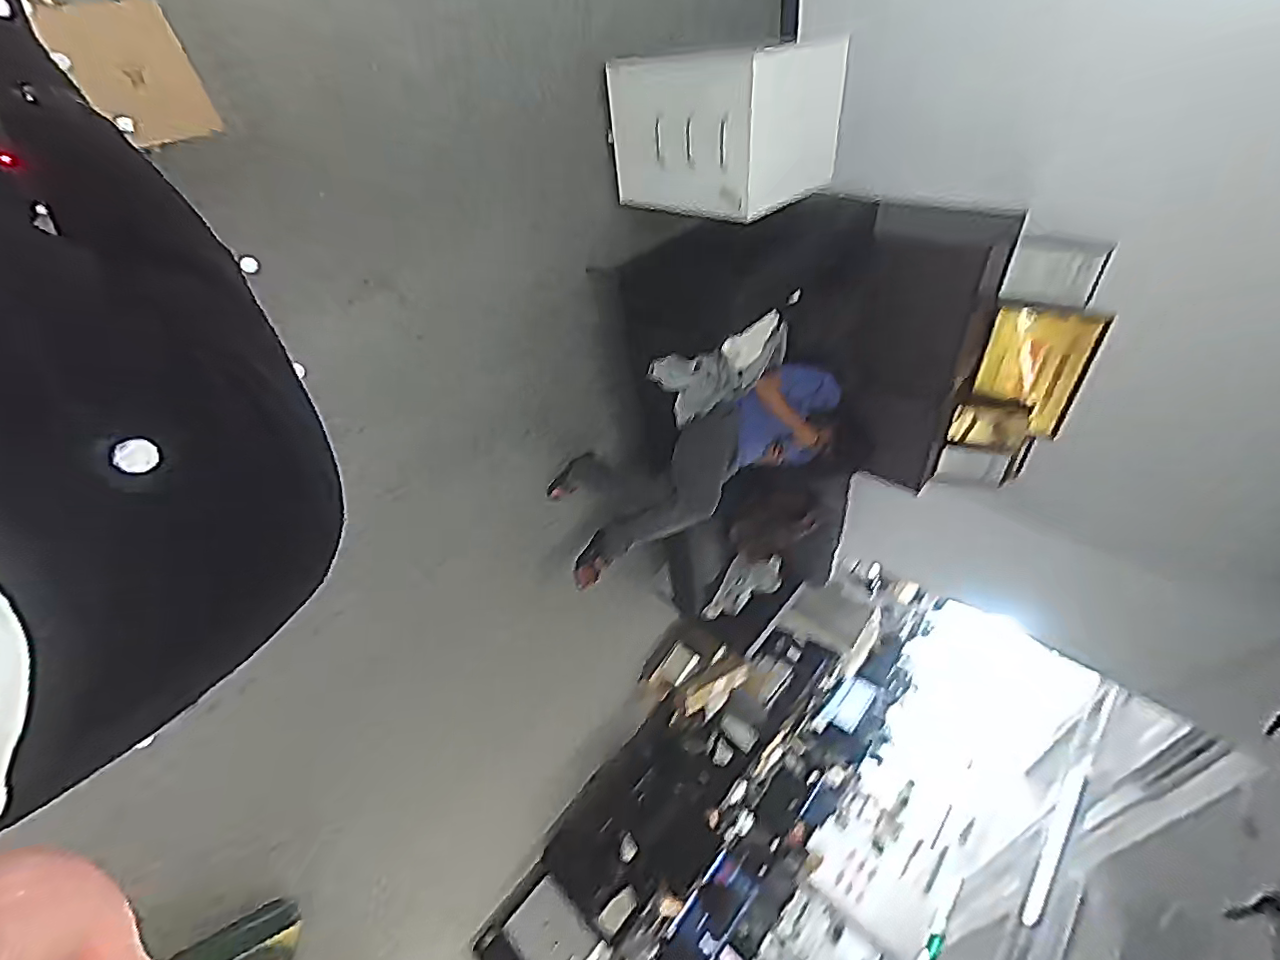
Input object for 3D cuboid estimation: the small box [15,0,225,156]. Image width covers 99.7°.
[{"bbox_3d":[-0.826,-0.638,0.864,0.168,0.176,0.179,-40,141,-30],"label":"small box"}]
